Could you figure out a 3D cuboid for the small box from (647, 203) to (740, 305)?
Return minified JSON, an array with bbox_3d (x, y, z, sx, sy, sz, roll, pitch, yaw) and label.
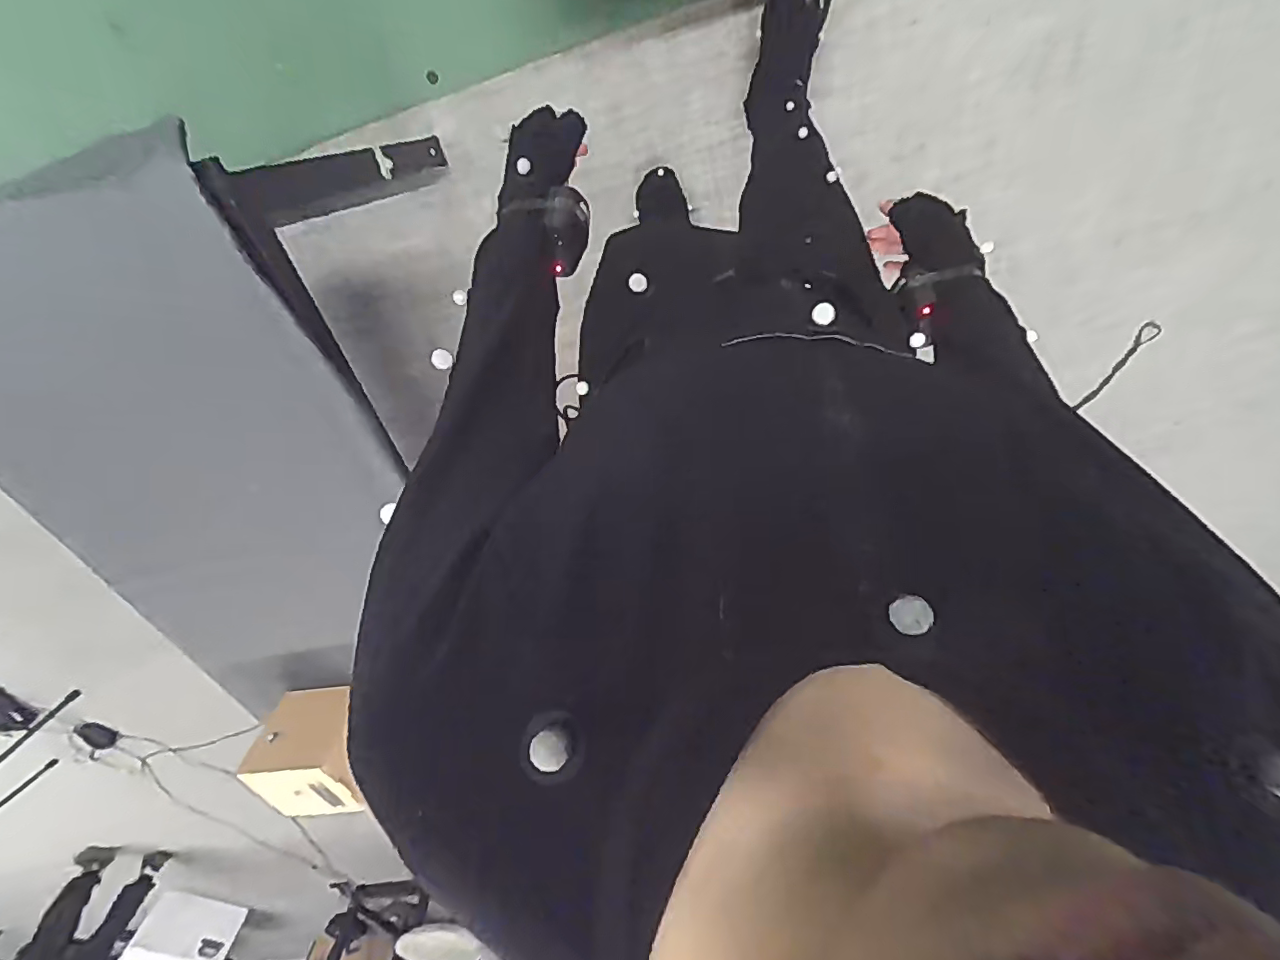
[{"bbox_3d":[0.113,-0.518,1.240,0.168,0.176,0.179,-1,127,-10],"label":"small box"}]
